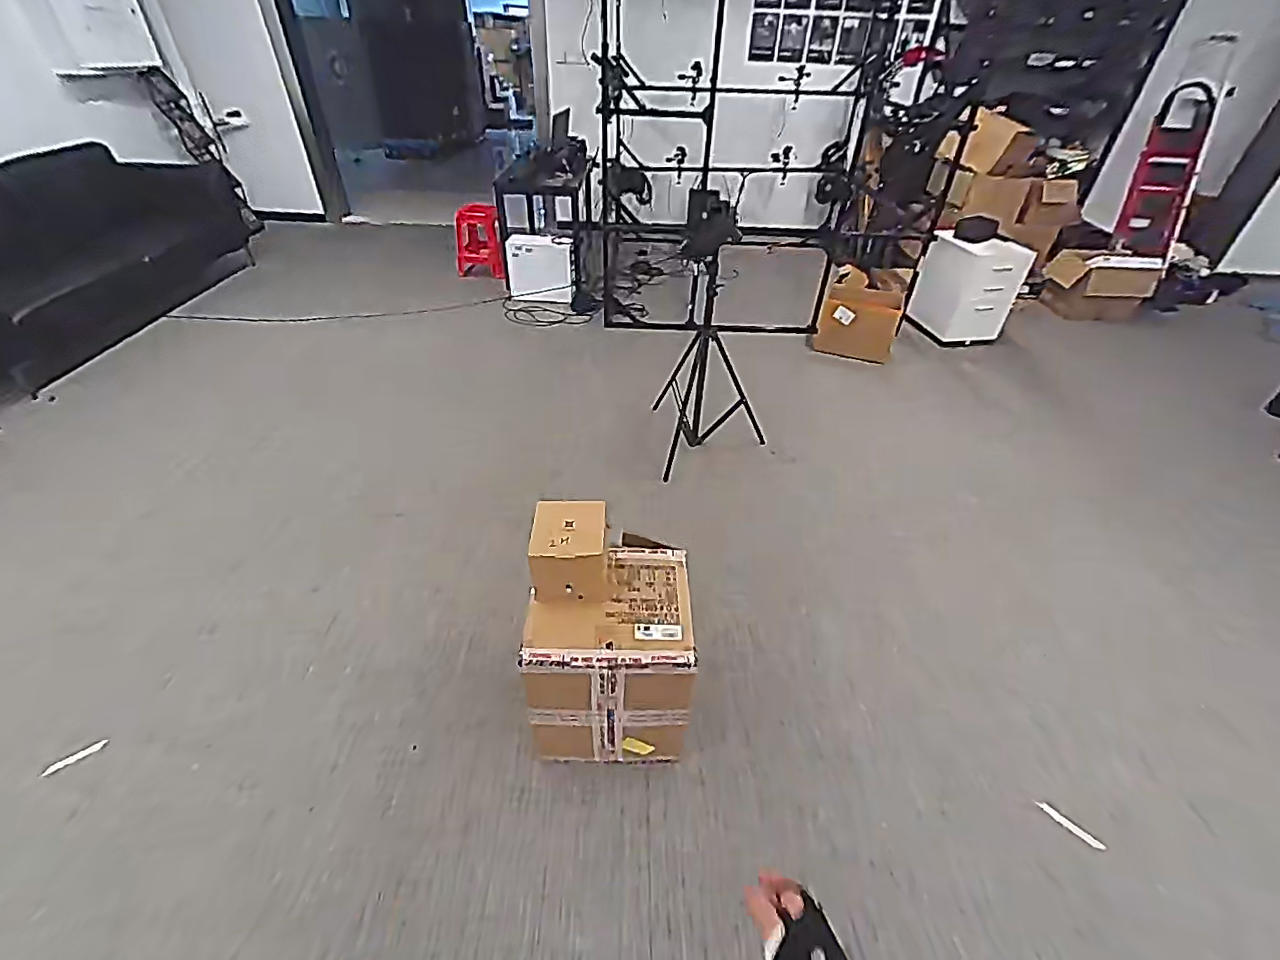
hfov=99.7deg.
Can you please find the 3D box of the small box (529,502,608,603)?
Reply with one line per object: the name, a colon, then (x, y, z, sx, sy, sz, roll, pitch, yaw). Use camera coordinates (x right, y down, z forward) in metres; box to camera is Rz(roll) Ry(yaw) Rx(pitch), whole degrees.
small box: (-0.163, 0.171, 1.291, 0.168, 0.176, 0.179, 0, 42, 0)
